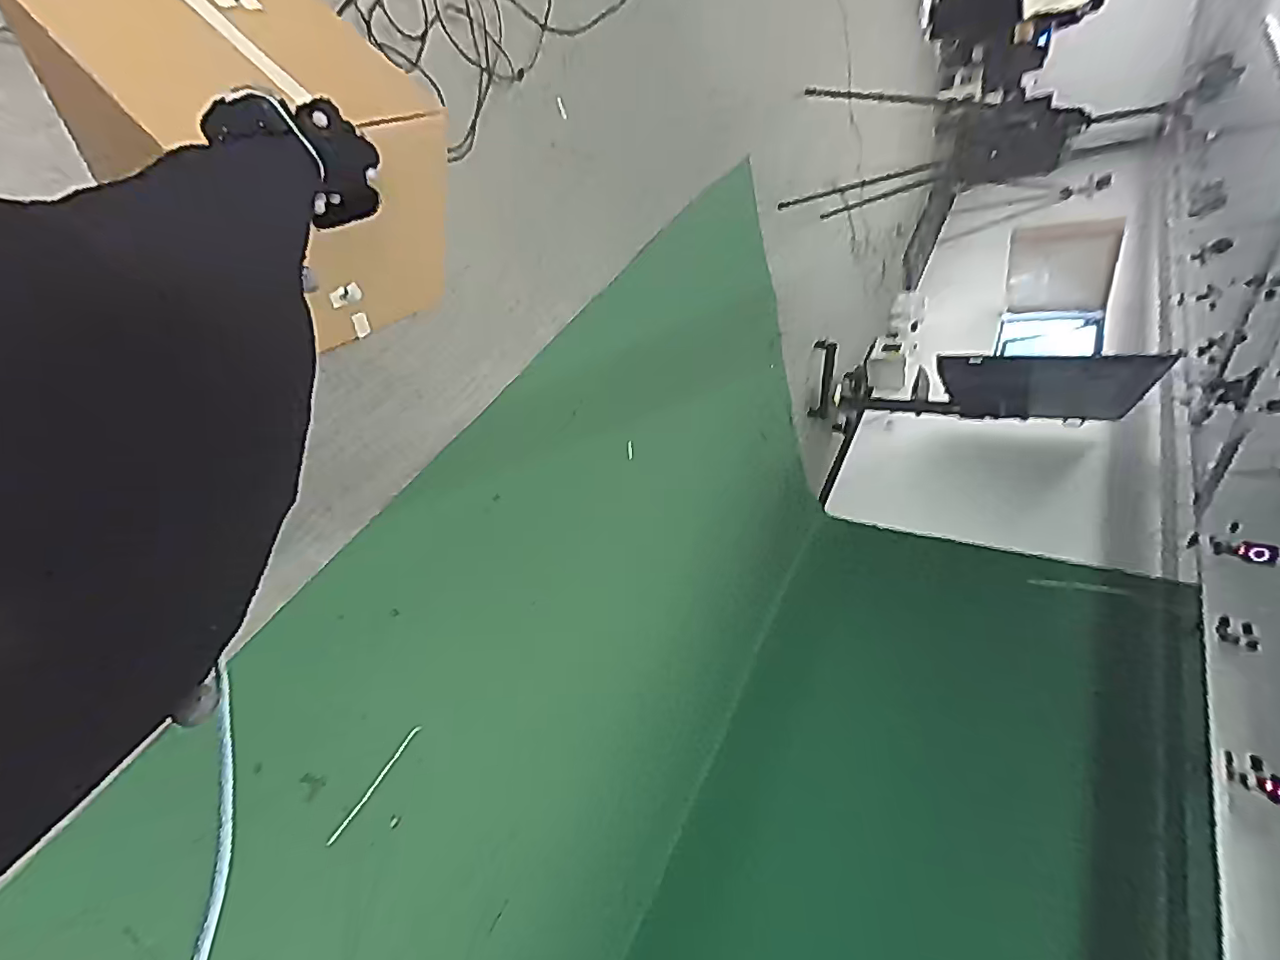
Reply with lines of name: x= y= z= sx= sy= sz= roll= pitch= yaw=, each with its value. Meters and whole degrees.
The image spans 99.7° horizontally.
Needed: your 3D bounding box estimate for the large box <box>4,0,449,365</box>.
large box: x=-0.527 y=-0.445 z=0.770 sx=0.320 sy=0.408 sz=0.320 roll=-40 pitch=168 yaw=-34
